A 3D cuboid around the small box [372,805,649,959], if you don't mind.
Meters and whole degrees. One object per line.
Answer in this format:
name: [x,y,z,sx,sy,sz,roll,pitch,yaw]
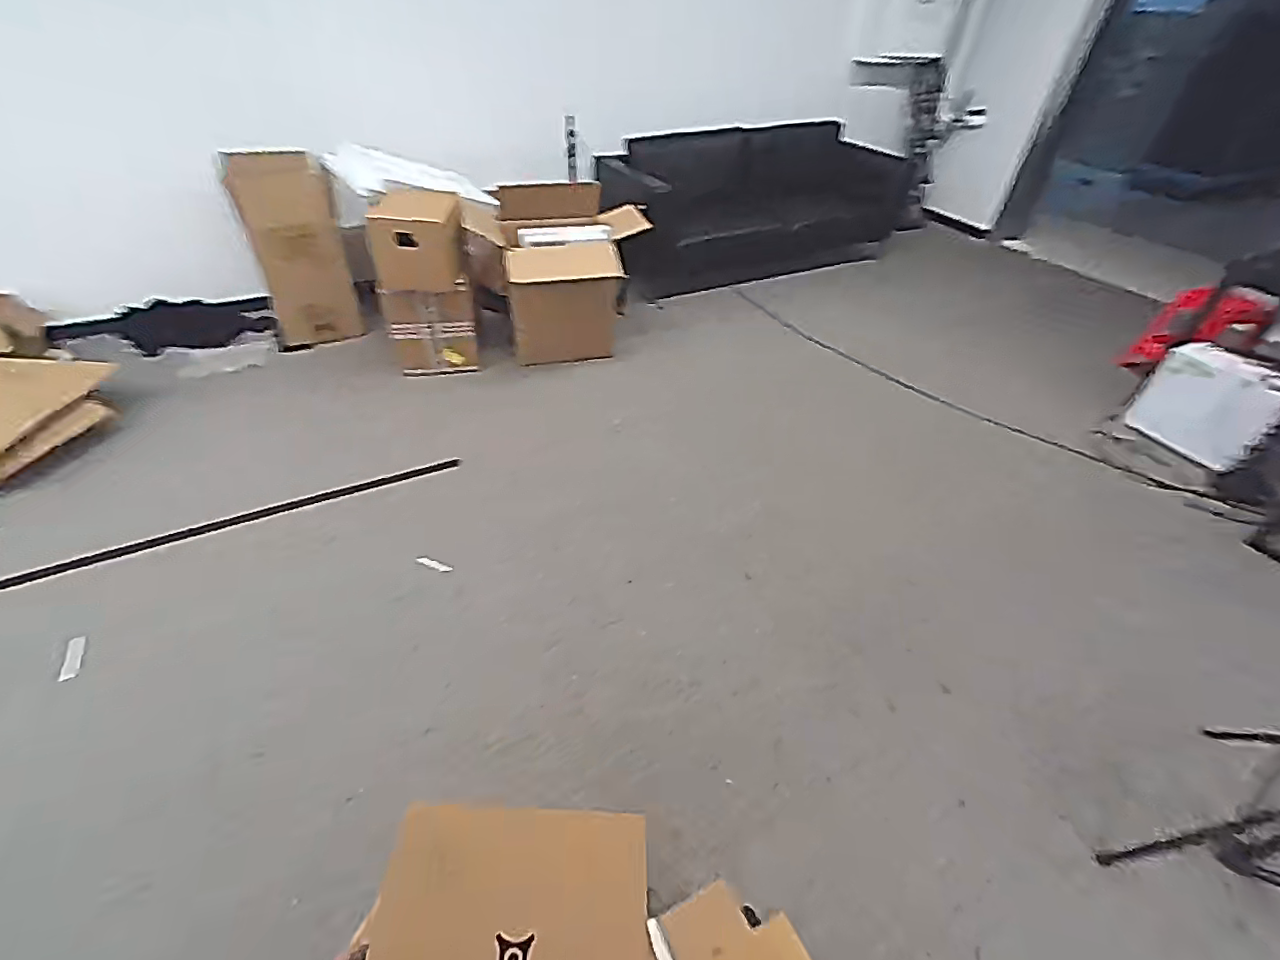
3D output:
small box: [-0.090,0.347,0.370,0.168,0.176,0.179,7,45,-8]
